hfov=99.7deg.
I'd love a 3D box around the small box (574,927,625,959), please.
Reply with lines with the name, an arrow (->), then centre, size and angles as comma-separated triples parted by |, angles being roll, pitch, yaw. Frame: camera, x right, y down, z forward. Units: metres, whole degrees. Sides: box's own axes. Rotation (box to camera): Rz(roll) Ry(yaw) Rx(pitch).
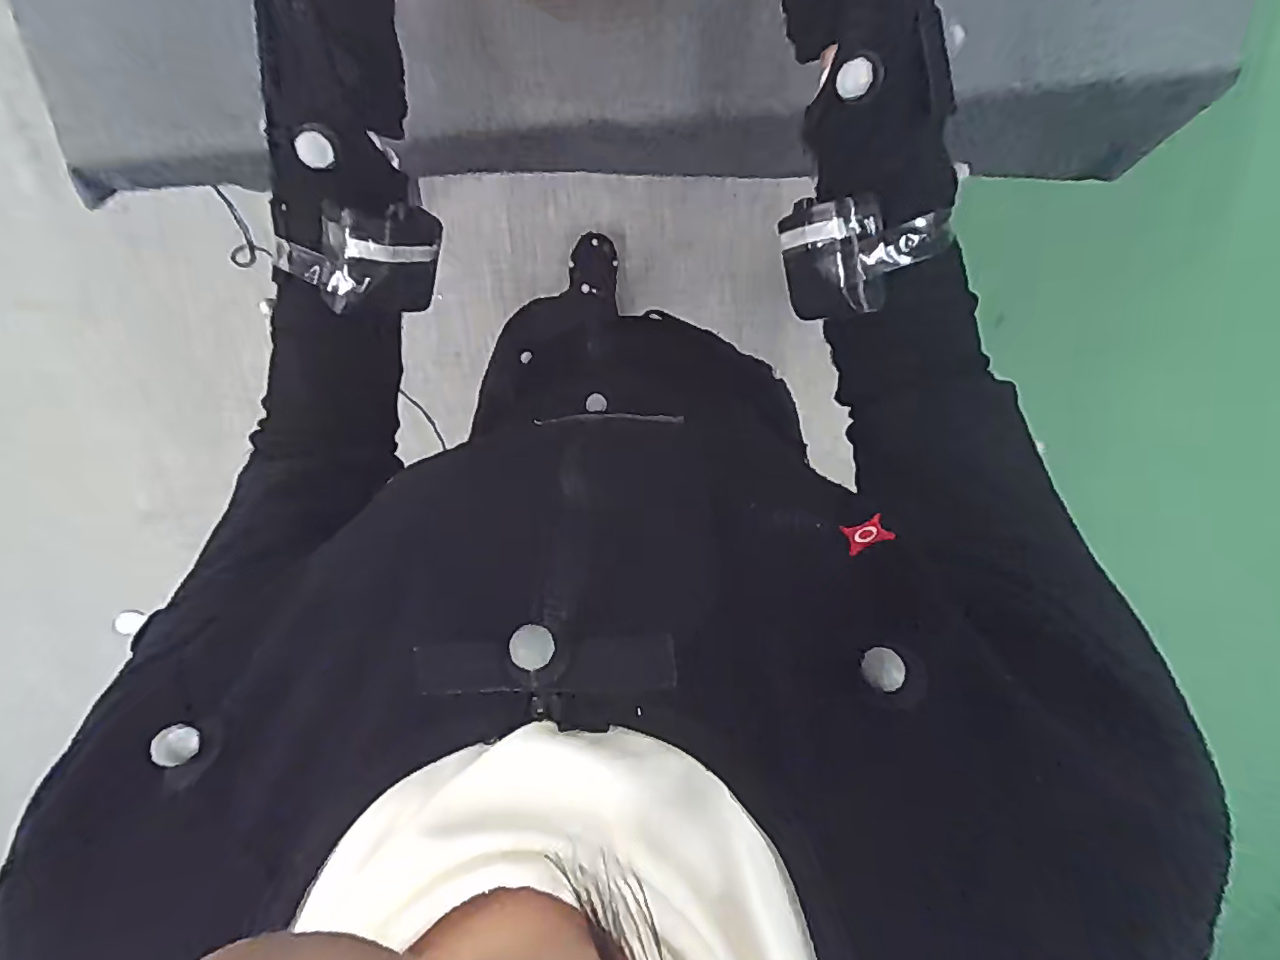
small box -> -0.145, 1.753, 1.942 | 0.179, 0.176, 0.168 | -3, 109, -1
